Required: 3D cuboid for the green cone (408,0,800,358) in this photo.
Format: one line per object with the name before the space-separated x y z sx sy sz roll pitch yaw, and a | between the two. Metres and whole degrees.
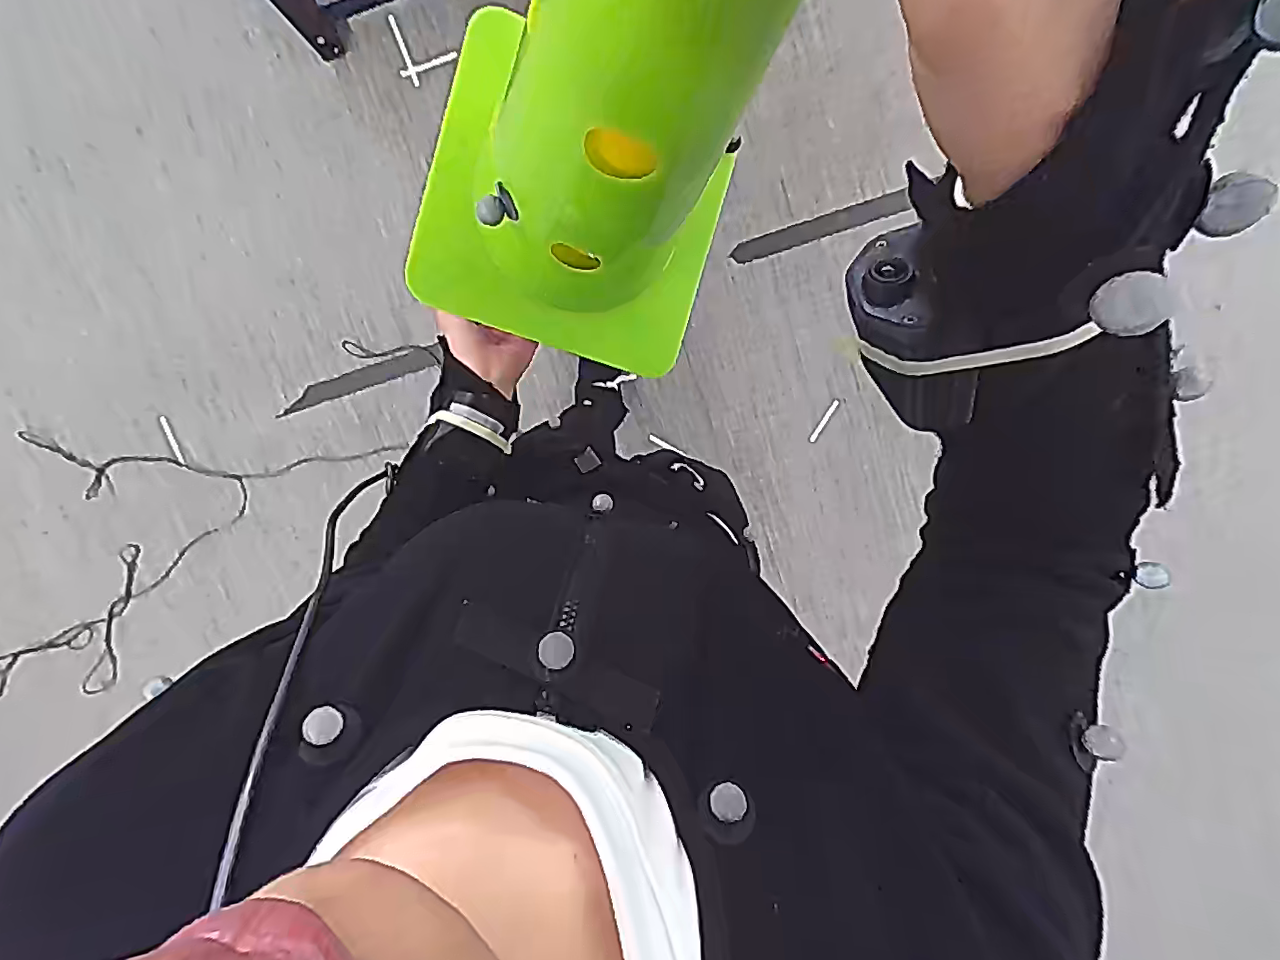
green cone | 0.003 -0.177 0.205 0.200 0.368 0.202 15 95 -15
